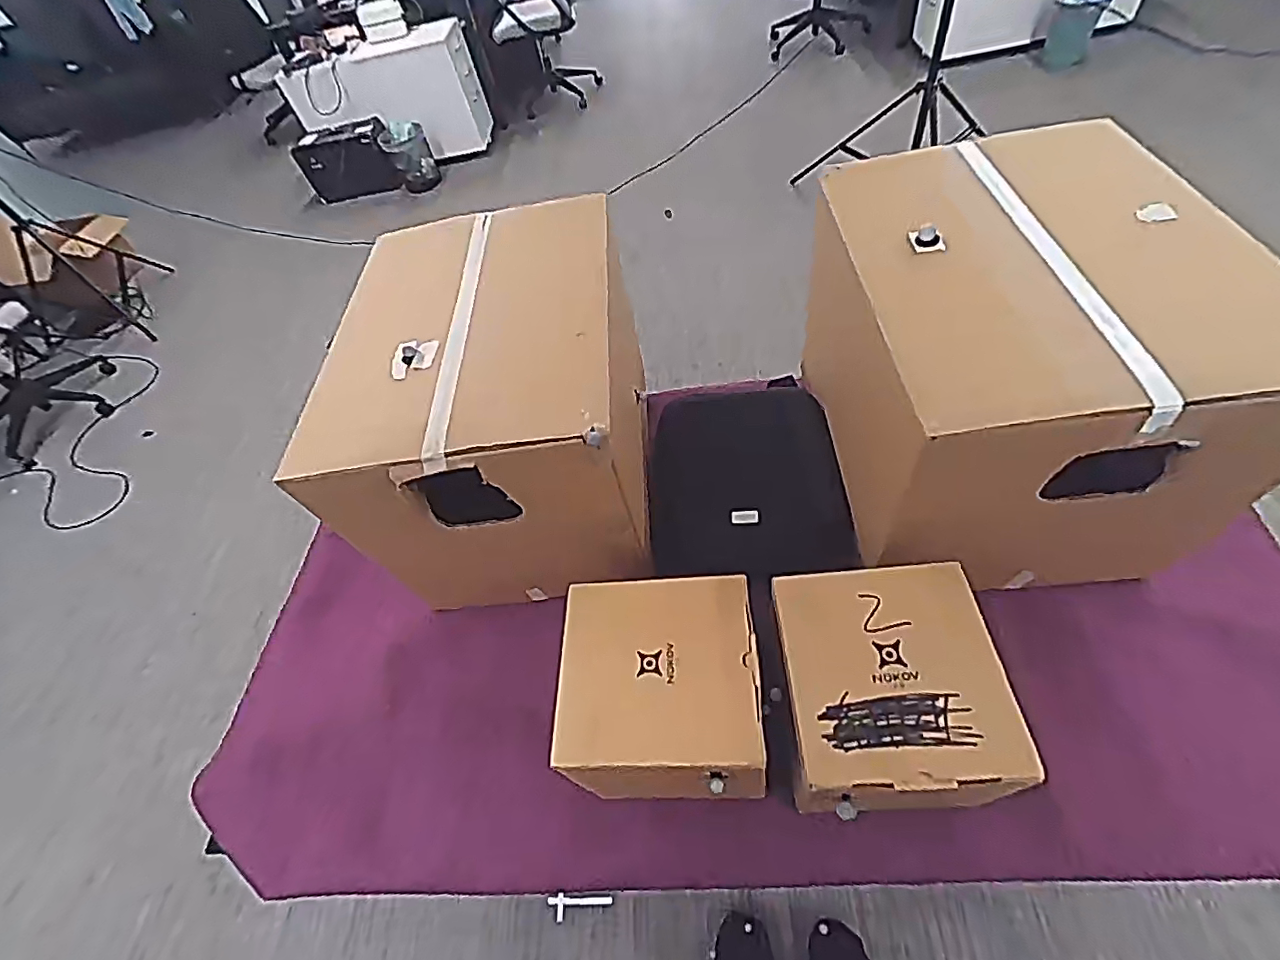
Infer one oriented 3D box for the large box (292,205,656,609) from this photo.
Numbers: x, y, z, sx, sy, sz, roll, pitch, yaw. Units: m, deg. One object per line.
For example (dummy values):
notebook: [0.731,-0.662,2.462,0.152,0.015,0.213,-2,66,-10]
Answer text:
large box: [-0.161,-0.087,0.713,0.320,0.320,0.408,-8,55,6]
